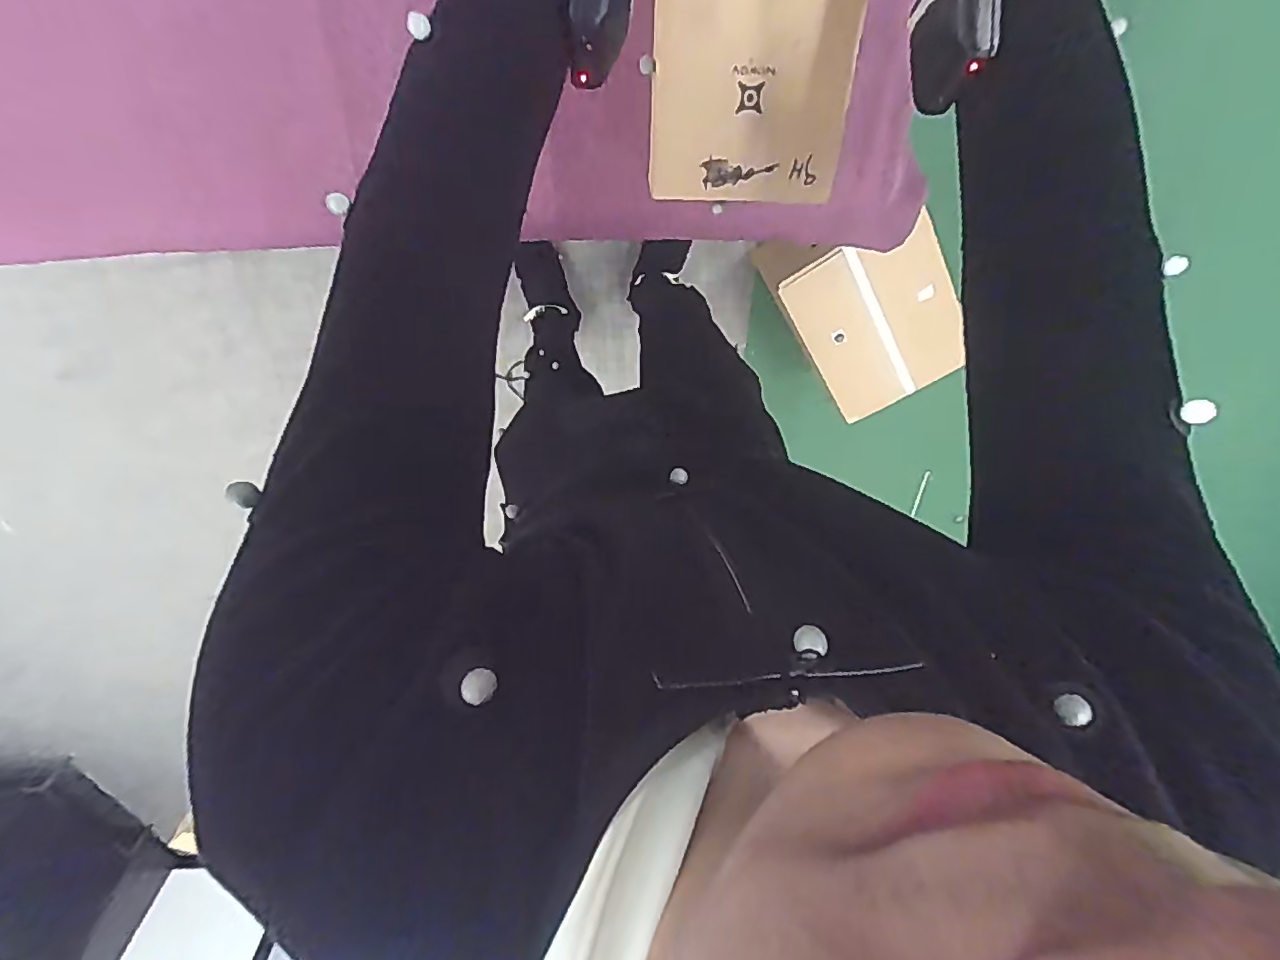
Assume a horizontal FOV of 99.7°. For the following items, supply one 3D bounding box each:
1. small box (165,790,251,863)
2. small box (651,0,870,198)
[{"bbox_3d":[-1.579,1.271,1.988,0.168,0.176,0.179,38,117,-24],"label":"small box"},{"bbox_3d":[0.097,-0.377,0.516,0.168,0.176,0.179,2,123,0],"label":"small box"}]
